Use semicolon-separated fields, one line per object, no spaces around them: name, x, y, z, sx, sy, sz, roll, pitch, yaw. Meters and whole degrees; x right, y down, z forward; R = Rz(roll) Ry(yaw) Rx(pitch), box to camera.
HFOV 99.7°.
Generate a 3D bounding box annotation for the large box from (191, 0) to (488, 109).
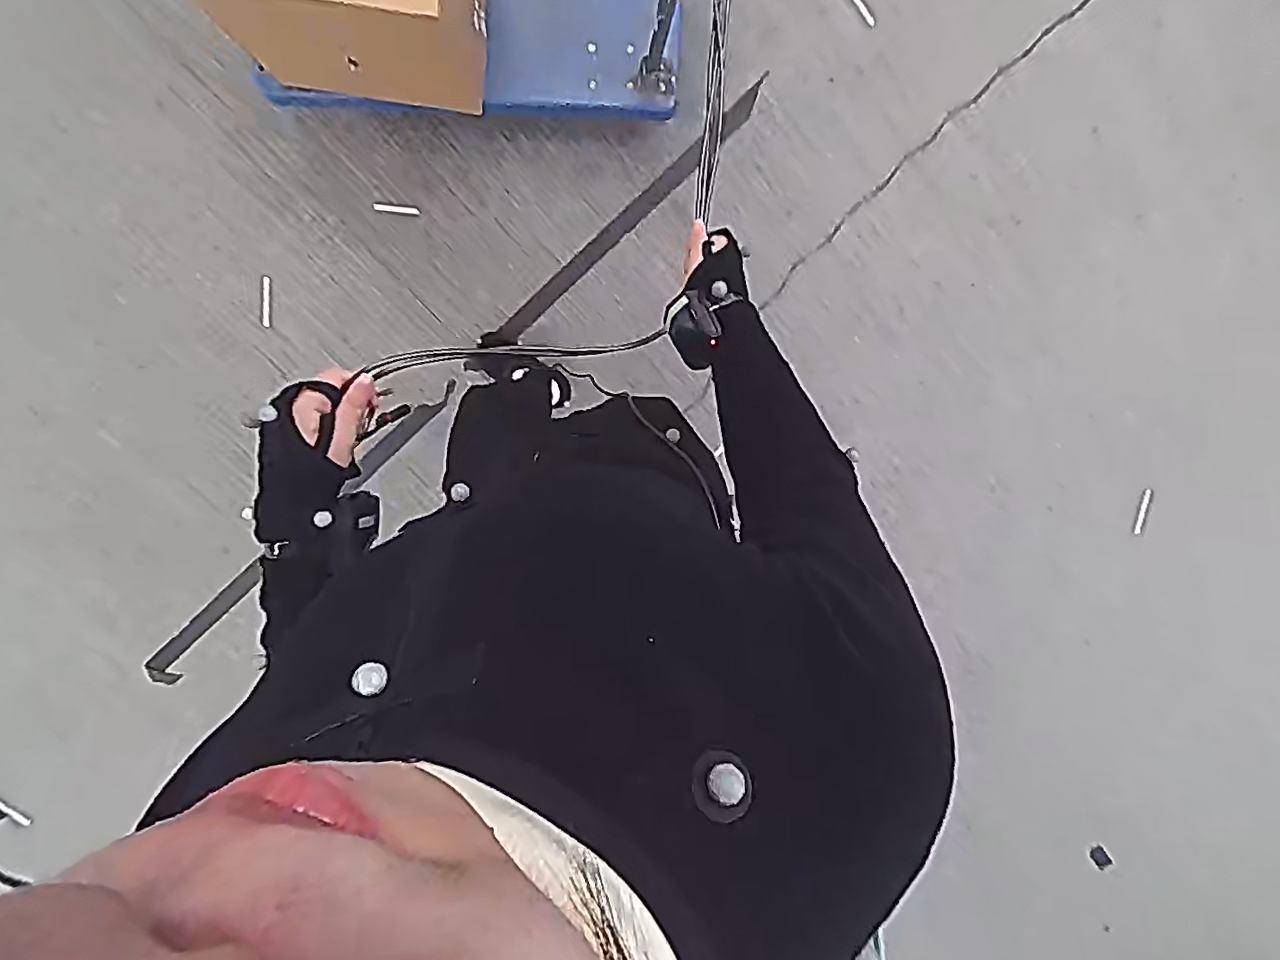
large box;-0.496;-0.899;0.935;0.408;0.320;0.320;5;99;-4
